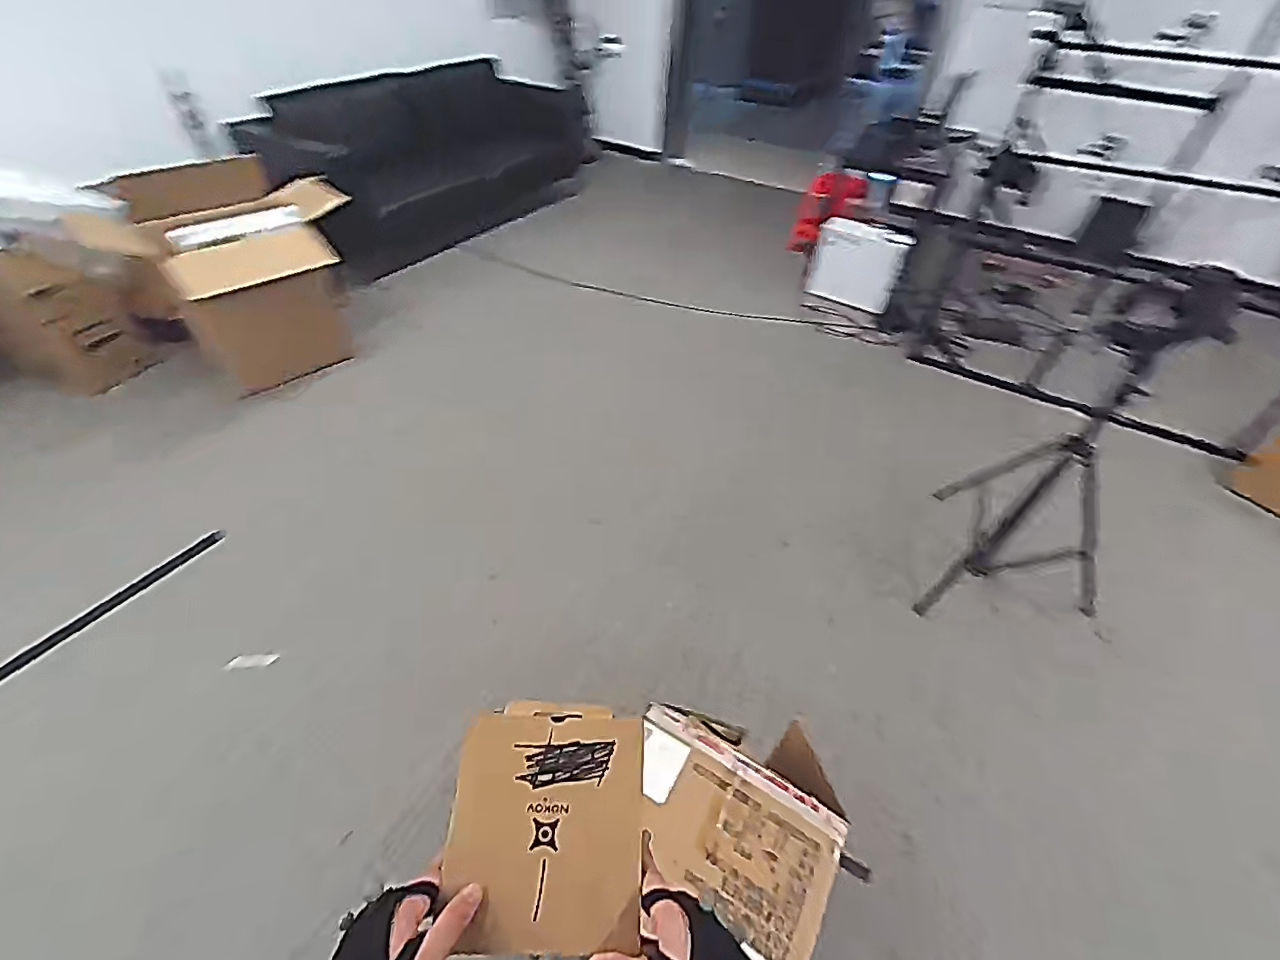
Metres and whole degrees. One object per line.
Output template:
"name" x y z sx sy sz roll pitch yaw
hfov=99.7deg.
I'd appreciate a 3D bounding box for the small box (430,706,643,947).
"small box" -0.088 0.334 0.533 0.168 0.176 0.179 3 57 -4
